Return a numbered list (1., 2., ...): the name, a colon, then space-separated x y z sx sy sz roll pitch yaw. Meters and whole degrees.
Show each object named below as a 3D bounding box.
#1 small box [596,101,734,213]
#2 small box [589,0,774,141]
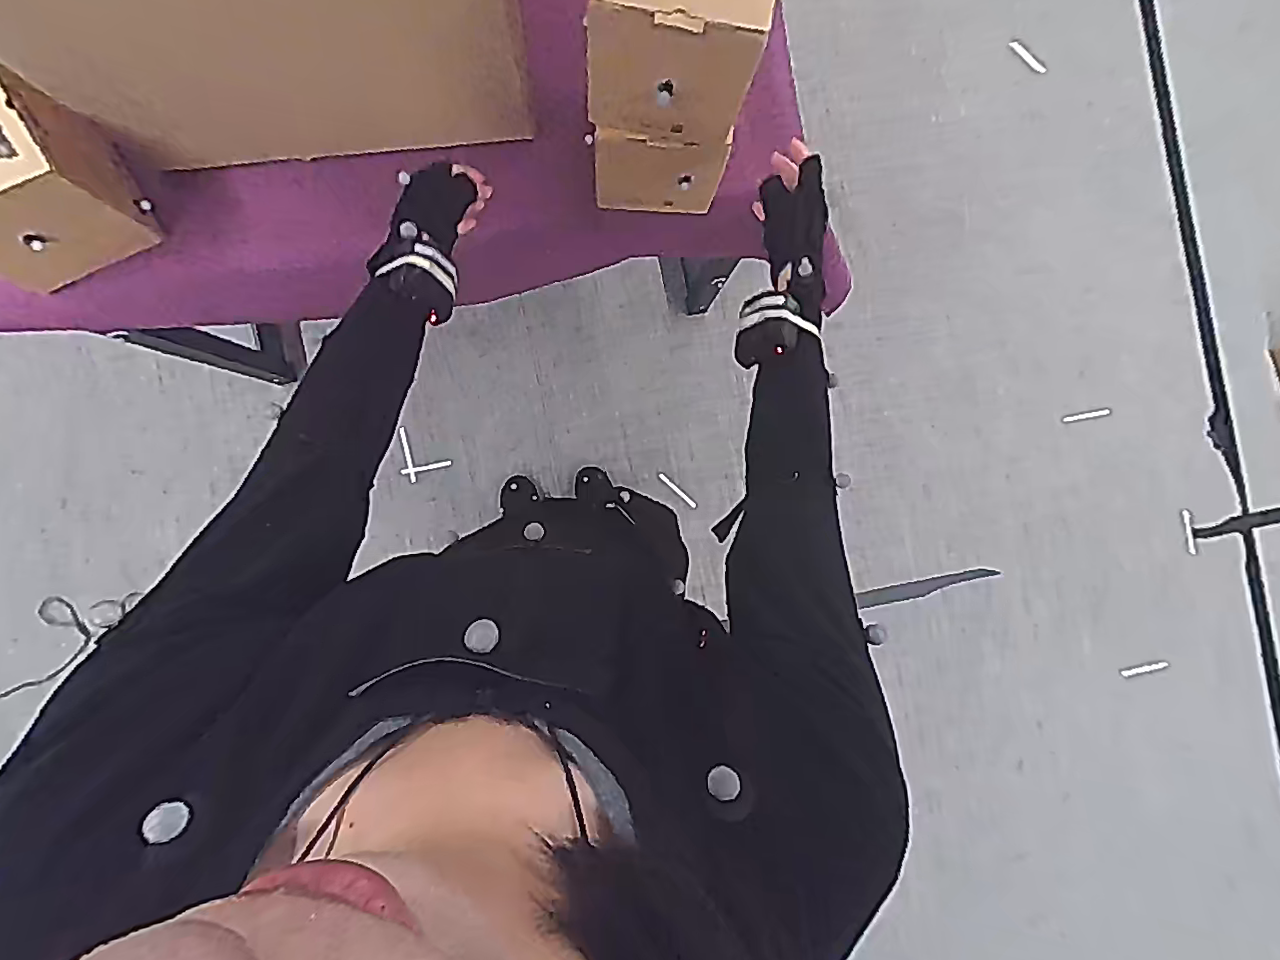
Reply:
1. small box: 0.026 -0.483 0.721 0.168 0.176 0.179 1 88 -5
2. small box: 0.042 -0.492 0.557 0.168 0.176 0.179 8 90 -6
